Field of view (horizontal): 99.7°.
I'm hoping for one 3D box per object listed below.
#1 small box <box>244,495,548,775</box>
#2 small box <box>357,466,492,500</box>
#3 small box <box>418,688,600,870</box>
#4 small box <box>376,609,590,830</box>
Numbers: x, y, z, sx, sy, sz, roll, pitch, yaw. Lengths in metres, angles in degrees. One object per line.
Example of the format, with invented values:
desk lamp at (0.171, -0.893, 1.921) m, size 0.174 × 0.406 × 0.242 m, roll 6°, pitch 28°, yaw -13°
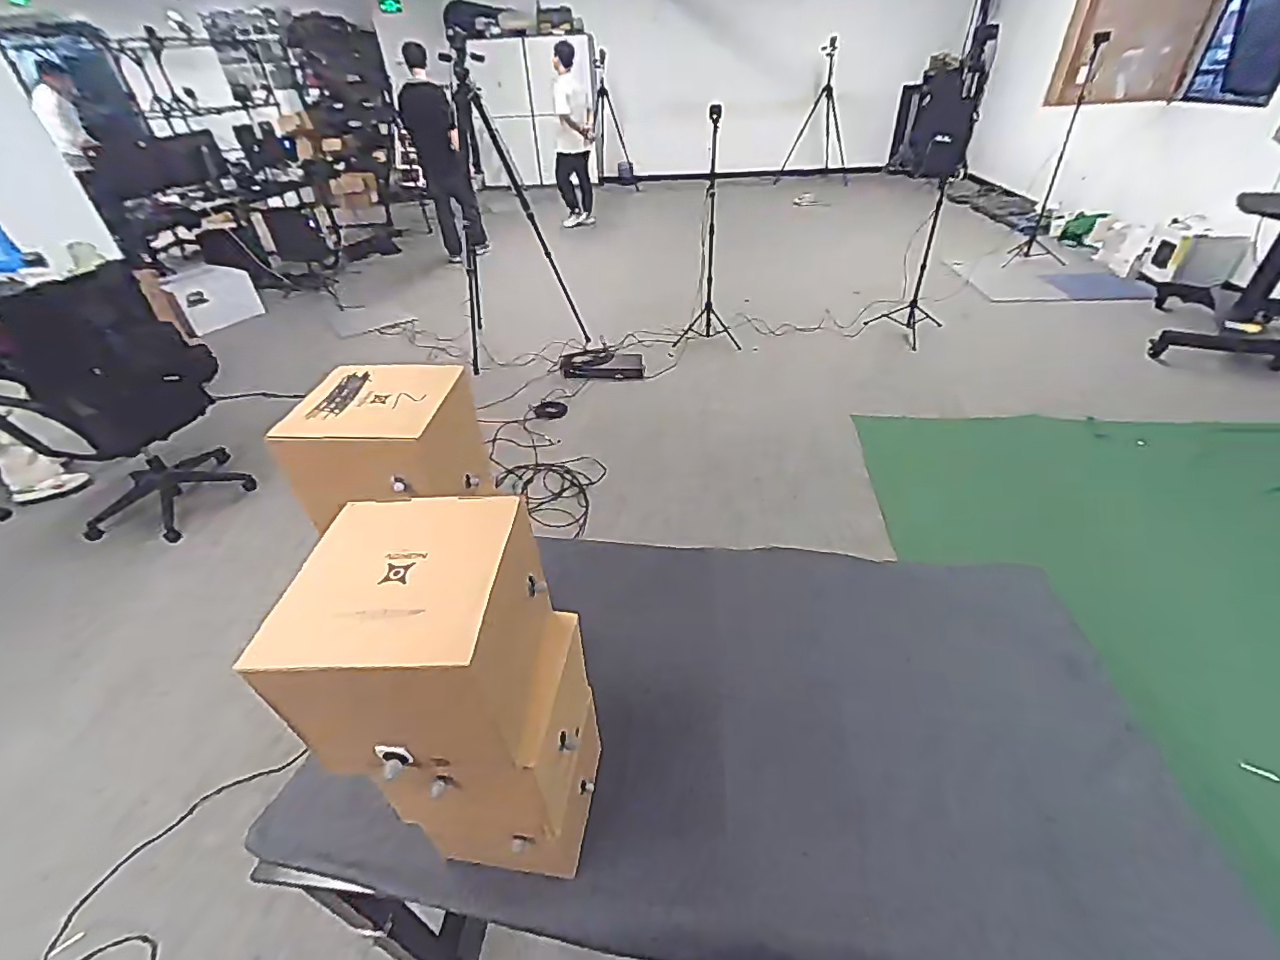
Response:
small box at (-0.183, 0.133, 0.477) m, size 0.168 × 0.176 × 0.179 m, roll -3°, pitch 39°, yaw 4°
small box at (-0.308, 0.096, 0.796) m, size 0.179 × 0.176 × 0.168 m, roll -1°, pitch 39°, yaw 5°
small box at (-0.155, 0.373, 0.695) m, size 0.179 × 0.176 × 0.168 m, roll 3°, pitch 38°, yaw 9°
small box at (-0.158, 0.253, 0.584) m, size 0.179 × 0.176 × 0.168 m, roll 2°, pitch 39°, yaw 8°
